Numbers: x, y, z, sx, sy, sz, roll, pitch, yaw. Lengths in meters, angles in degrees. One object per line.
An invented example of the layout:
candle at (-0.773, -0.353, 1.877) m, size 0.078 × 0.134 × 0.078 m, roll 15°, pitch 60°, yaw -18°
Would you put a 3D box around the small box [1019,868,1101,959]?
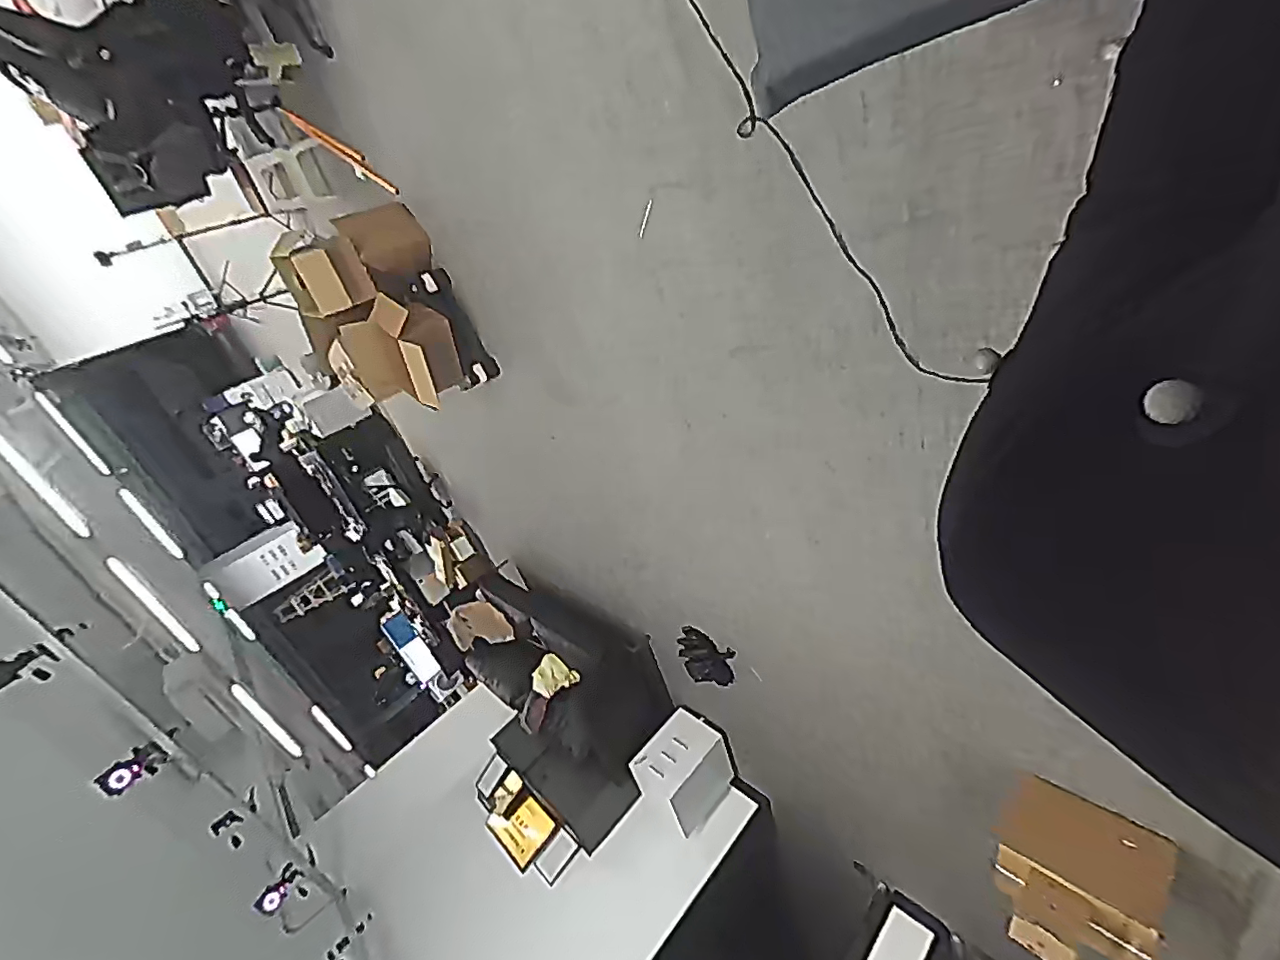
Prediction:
small box at (1.324, 1.382, 1.704) m, size 0.168 × 0.176 × 0.179 m, roll 17°, pitch 133°, yaw 45°
